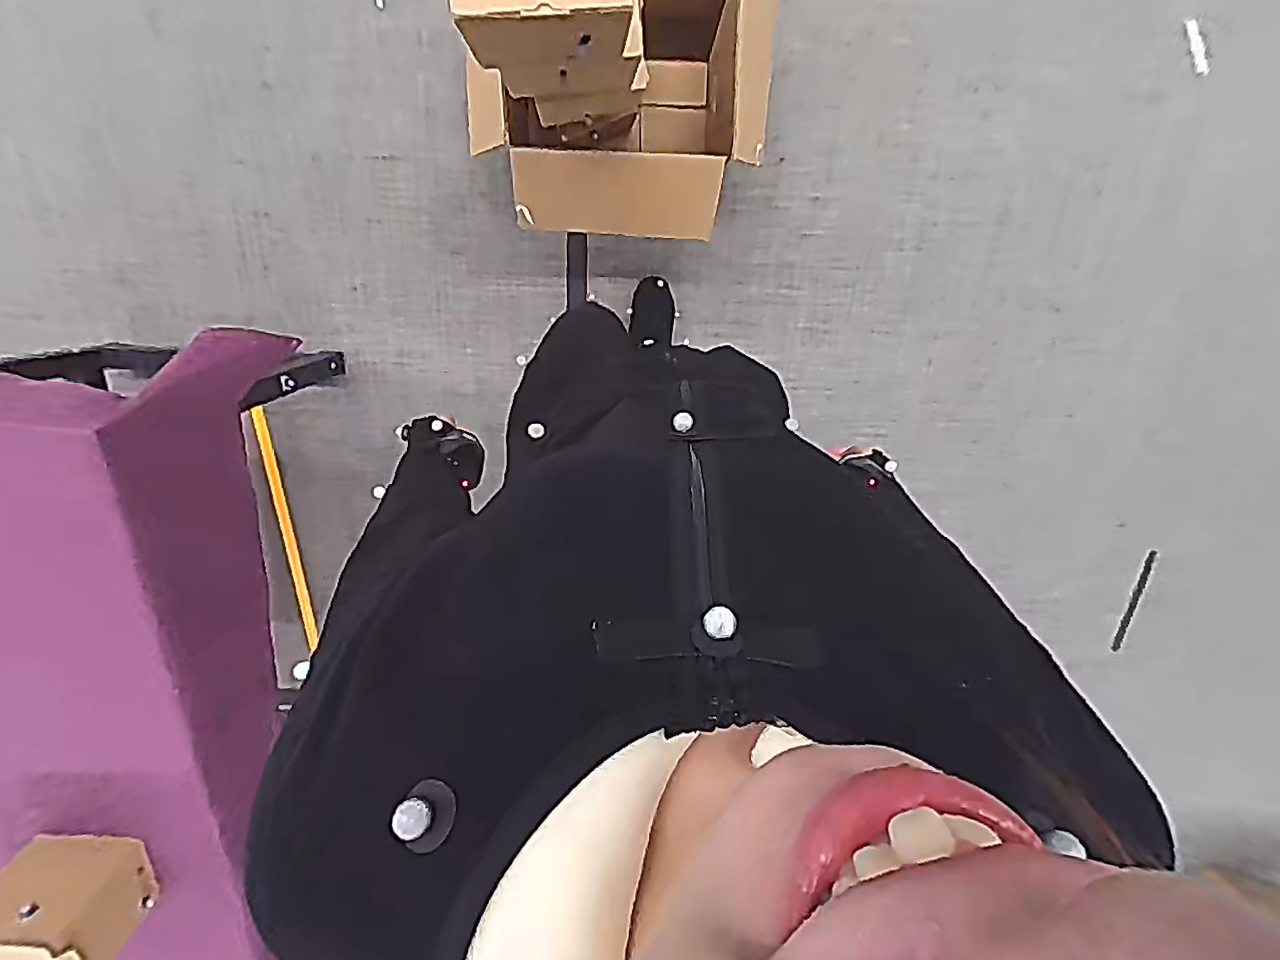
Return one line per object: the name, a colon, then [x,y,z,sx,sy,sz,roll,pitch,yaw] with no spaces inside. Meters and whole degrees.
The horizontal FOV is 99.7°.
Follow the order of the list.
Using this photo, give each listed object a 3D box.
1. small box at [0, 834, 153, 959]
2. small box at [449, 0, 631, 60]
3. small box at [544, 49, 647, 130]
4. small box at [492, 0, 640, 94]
small box: [-0.976,0.731,0.911,0.179,0.176,0.168,5,111,-4]
small box: [-0.099,-0.529,0.520,0.168,0.176,0.179,-6,115,-5]
small box: [-0.100,-0.753,0.961,0.179,0.176,0.168,-20,114,2]
small box: [-0.097,-0.597,0.669,0.179,0.176,0.168,-6,116,-4]
